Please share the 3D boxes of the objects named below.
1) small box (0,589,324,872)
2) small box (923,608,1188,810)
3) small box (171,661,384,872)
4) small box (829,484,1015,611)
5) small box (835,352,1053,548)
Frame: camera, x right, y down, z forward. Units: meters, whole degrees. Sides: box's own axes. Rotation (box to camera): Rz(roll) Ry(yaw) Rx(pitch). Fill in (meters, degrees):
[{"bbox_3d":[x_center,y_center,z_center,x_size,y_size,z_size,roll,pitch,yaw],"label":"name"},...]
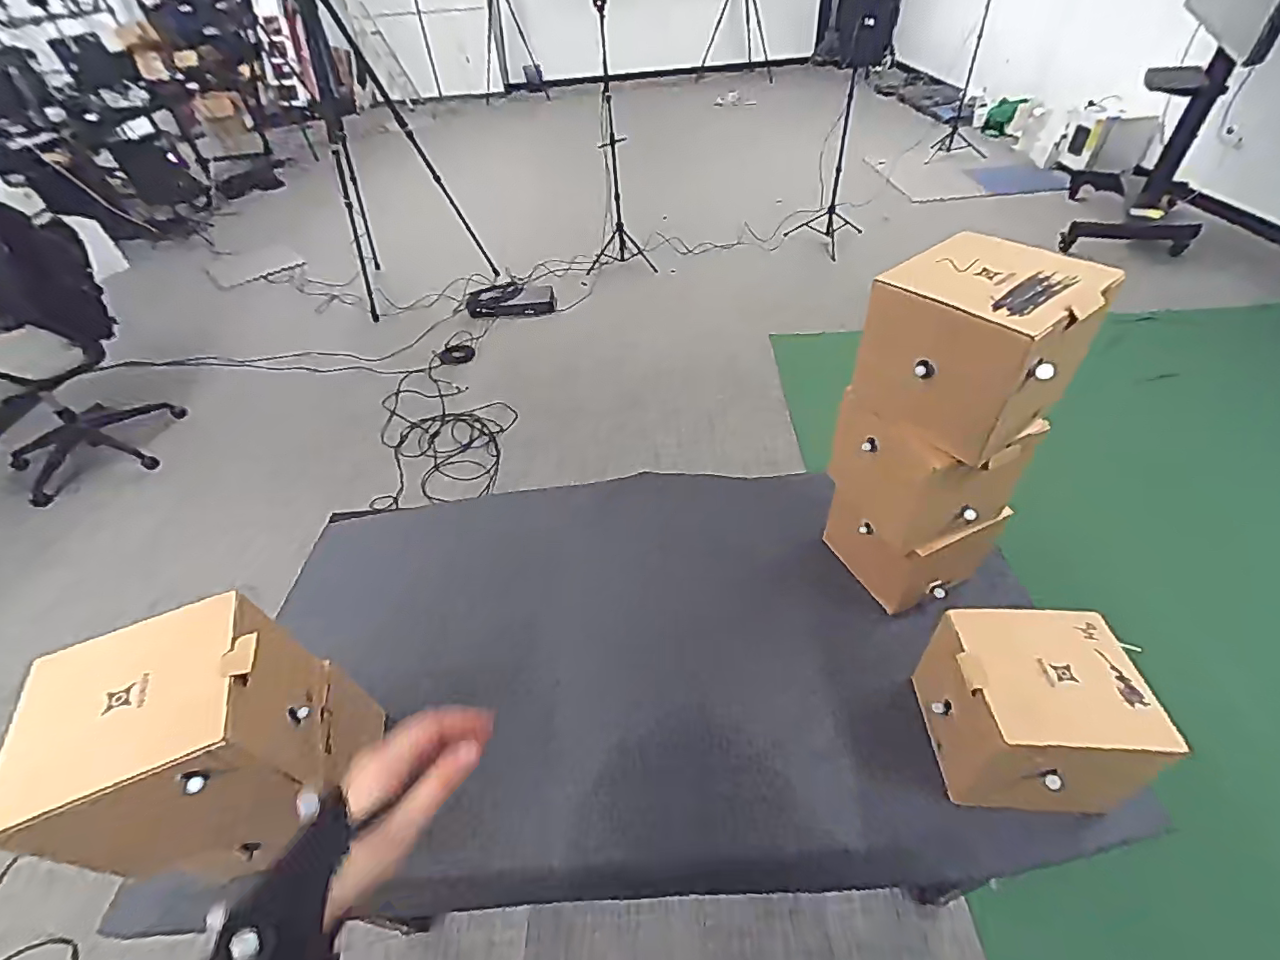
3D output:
[{"bbox_3d":[-0.443,0.245,0.531,0.179,0.176,0.168,-21,48,-15],"label":"small box"},{"bbox_3d":[0.458,0.270,0.641,0.179,0.176,0.168,-1,41,6],"label":"small box"},{"bbox_3d":[-0.435,0.348,0.657,0.179,0.176,0.168,-12,46,-6],"label":"small box"},{"bbox_3d":[0.423,0.071,0.847,0.168,0.176,0.179,-22,49,-12],"label":"small box"},{"bbox_3d":[0.386,-0.040,0.730,0.168,0.176,0.179,-19,47,-8],"label":"small box"}]
